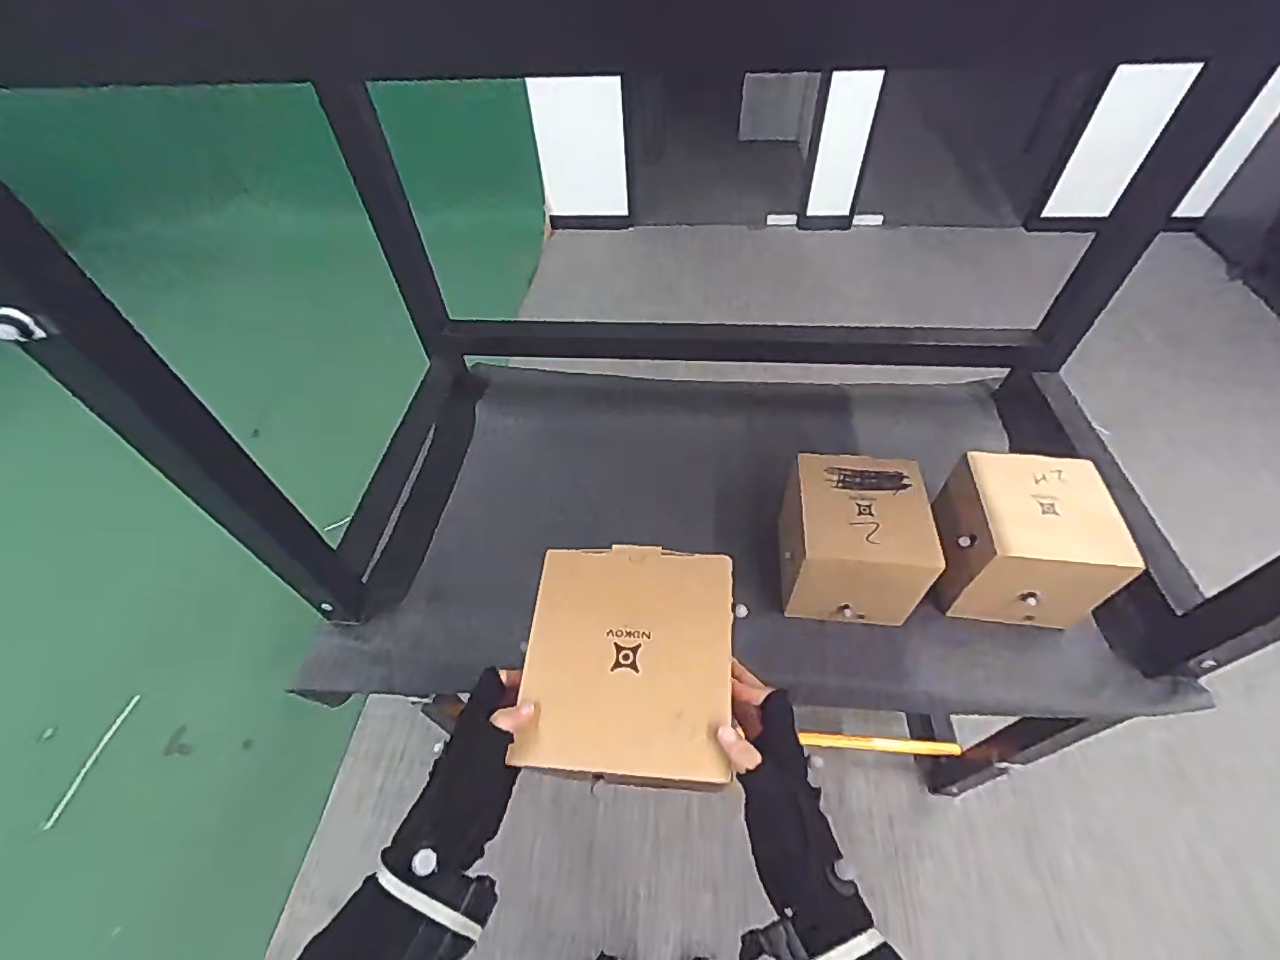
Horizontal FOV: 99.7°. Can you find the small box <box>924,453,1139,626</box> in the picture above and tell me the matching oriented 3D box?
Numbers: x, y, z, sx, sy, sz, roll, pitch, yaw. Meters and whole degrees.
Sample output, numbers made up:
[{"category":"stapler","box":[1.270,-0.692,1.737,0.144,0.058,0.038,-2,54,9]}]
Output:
[{"category":"small box","box":[0.523,0.086,0.757,0.168,0.176,0.179,5,50,7]}]
